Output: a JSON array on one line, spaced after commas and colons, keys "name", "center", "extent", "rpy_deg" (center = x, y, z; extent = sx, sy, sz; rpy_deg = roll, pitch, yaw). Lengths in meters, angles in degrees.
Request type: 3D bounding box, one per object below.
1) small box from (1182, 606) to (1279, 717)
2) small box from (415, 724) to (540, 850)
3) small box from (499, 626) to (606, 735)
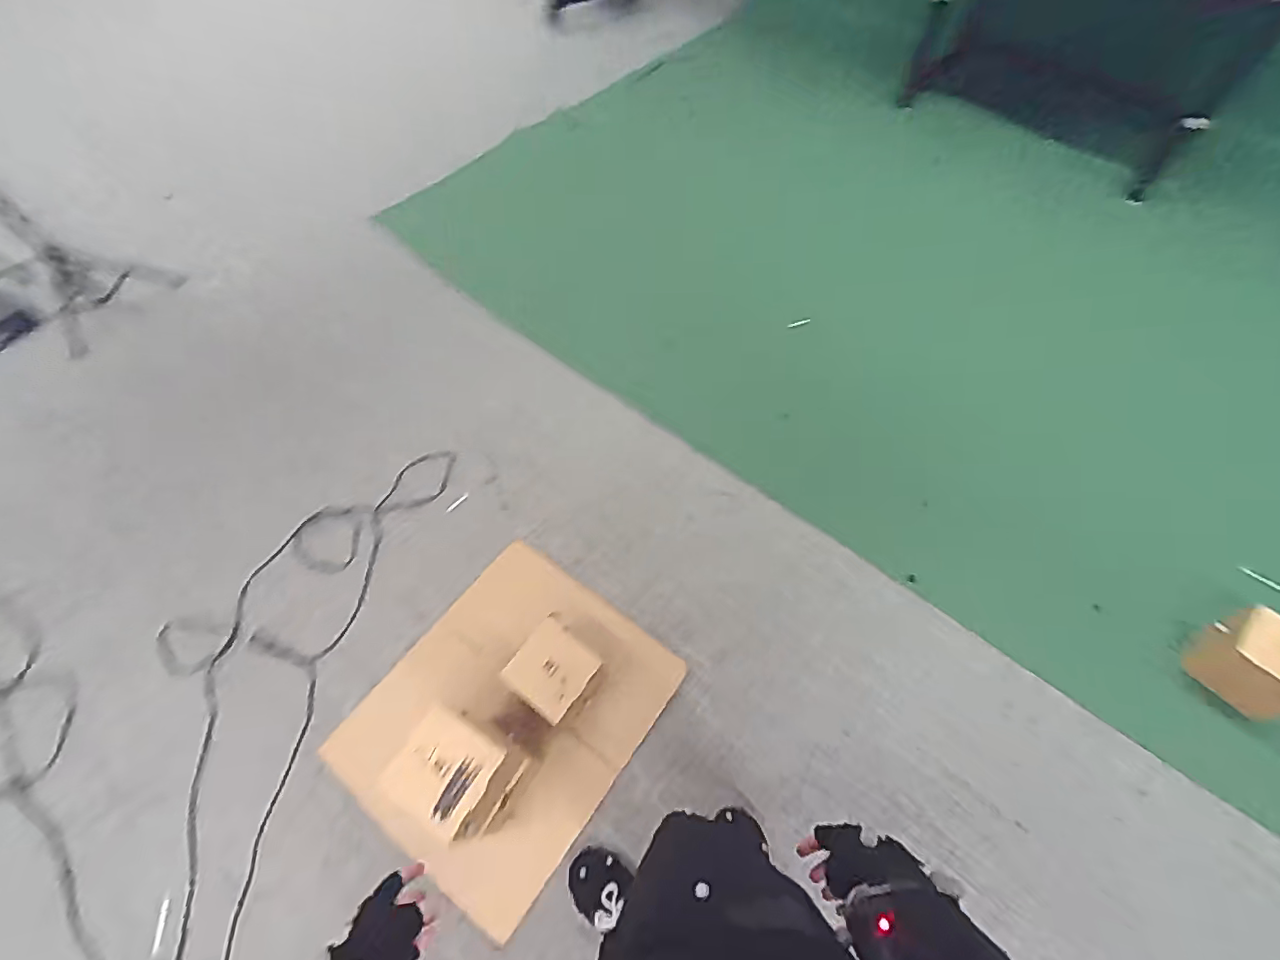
[{"name": "small box", "center": [1.480, 0.441, 1.297], "extent": [0.168, 0.176, 0.179], "rpy_deg": [-39, 66, -21]}, {"name": "small box", "center": [-0.341, 0.660, 1.175], "extent": [0.179, 0.176, 0.168], "rpy_deg": [28, 64, 17]}, {"name": "small box", "center": [-0.200, 0.482, 1.282], "extent": [0.179, 0.176, 0.168], "rpy_deg": [32, 66, 18]}]
